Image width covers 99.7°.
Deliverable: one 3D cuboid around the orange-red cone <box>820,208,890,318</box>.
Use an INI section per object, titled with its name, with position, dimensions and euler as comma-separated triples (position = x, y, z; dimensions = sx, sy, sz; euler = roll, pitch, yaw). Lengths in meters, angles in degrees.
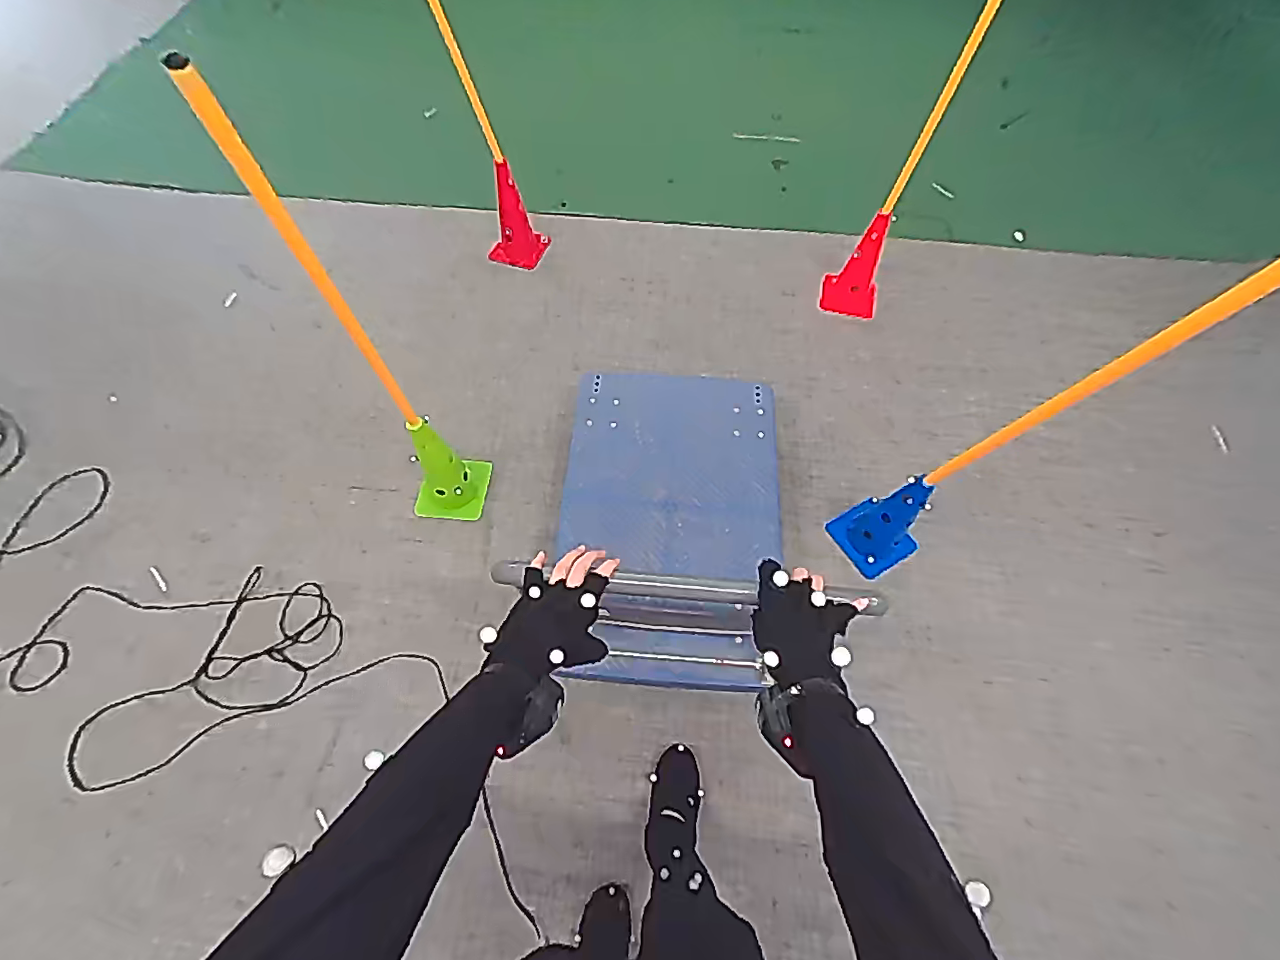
[orange-red cone]
position = 0.784, -0.772, 1.877
dimensions = 0.198, 0.360, 0.199
euler = 15, 64, 9
